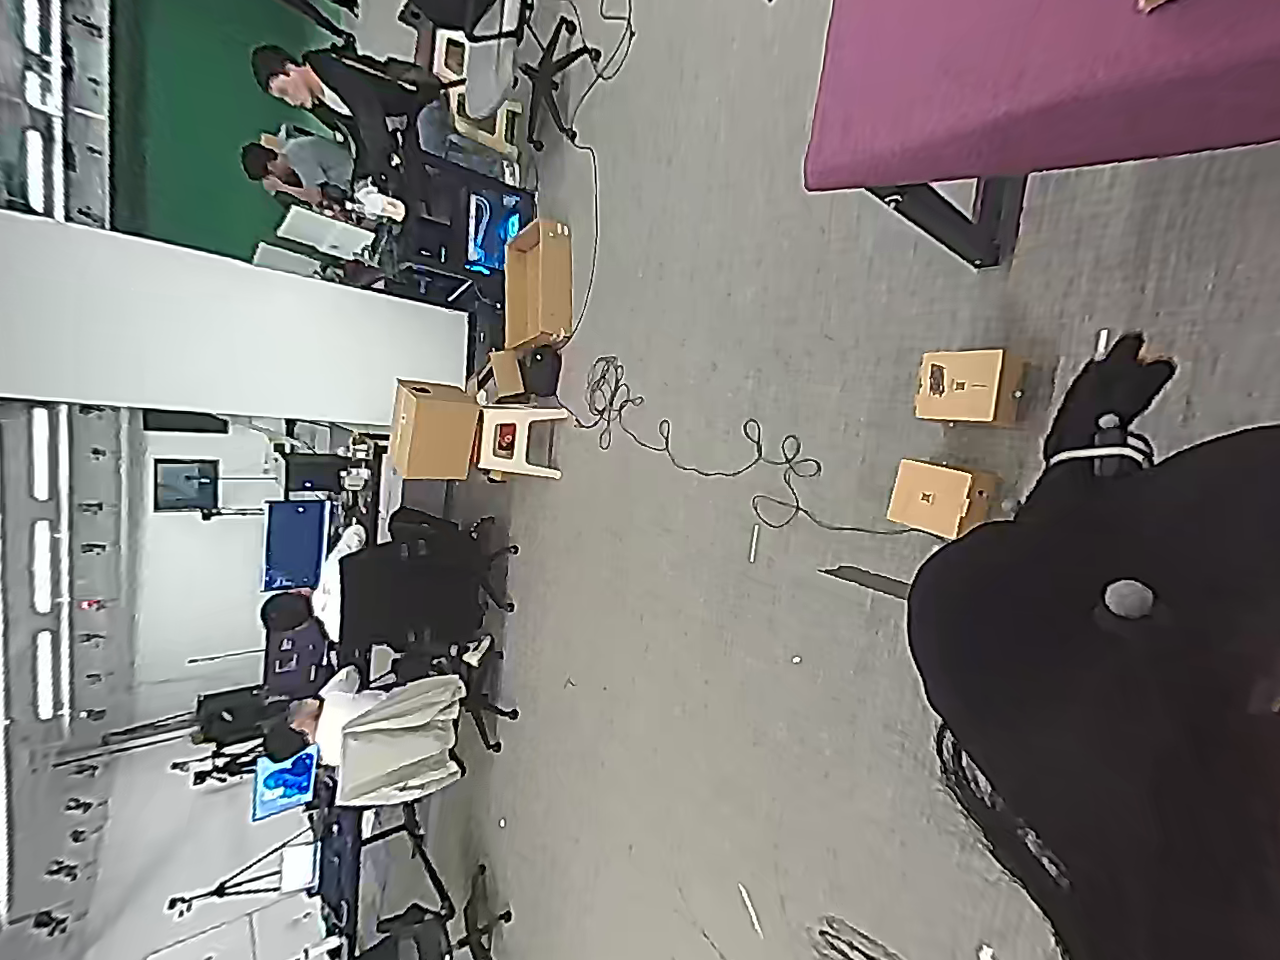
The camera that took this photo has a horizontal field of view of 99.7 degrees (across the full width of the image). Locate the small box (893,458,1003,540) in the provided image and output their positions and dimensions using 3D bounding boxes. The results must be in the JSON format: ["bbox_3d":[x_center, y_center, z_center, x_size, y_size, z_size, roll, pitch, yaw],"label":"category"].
[{"bbox_3d":[0.784,0.043,1.373,0.179,0.176,0.168,22,105,50],"label":"small box"}]

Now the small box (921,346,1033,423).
[{"bbox_3d":[0.824,-0.228,1.322,0.179,0.176,0.168,11,99,50],"label":"small box"}]
